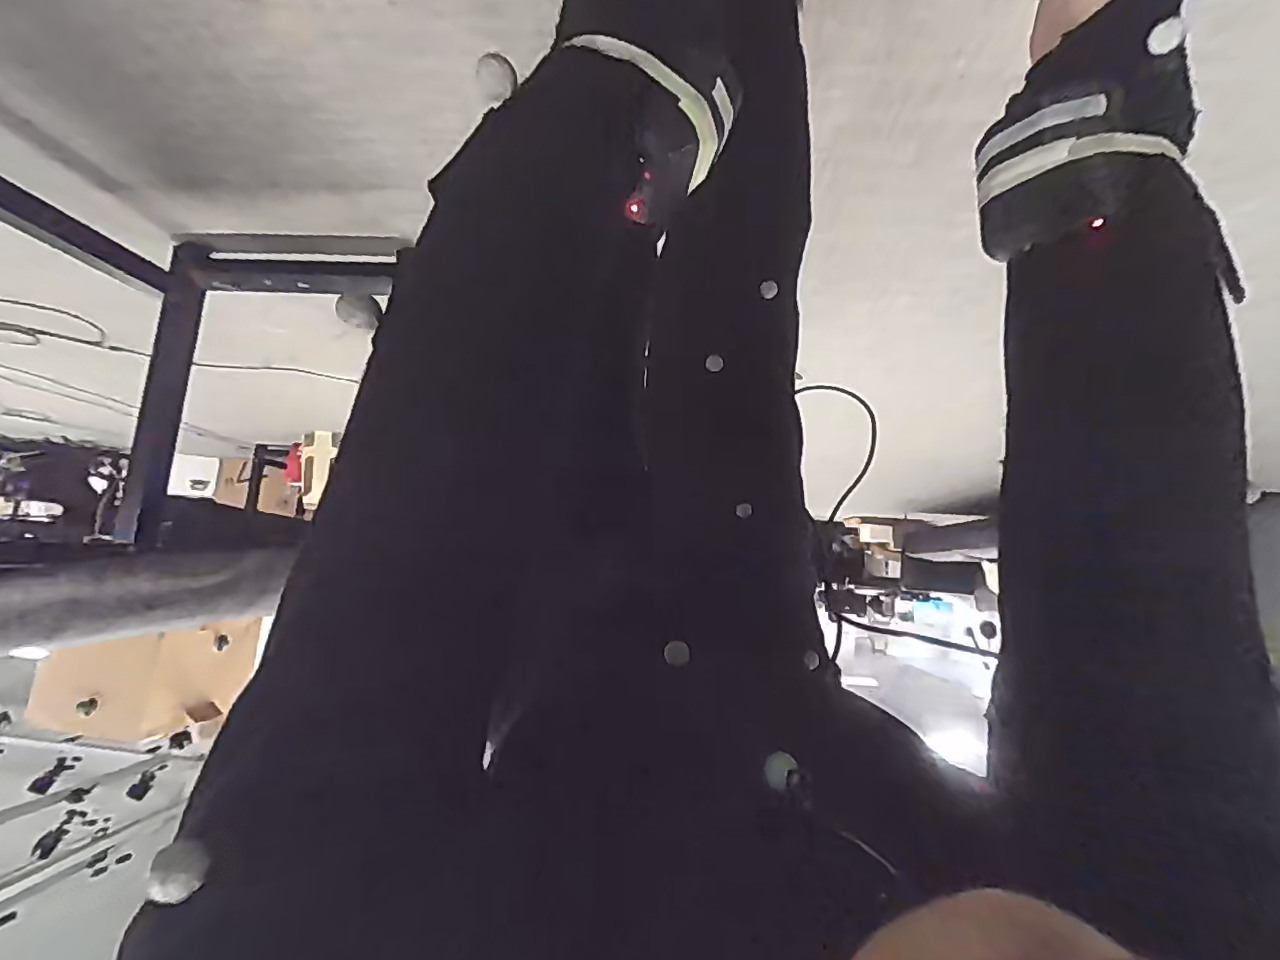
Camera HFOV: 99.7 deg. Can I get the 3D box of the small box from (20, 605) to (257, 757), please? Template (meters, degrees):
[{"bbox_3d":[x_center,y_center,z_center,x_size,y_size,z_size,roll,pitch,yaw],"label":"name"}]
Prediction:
[{"bbox_3d":[-0.690,0.270,0.767,0.179,0.176,0.168,2,171,8],"label":"small box"}]
